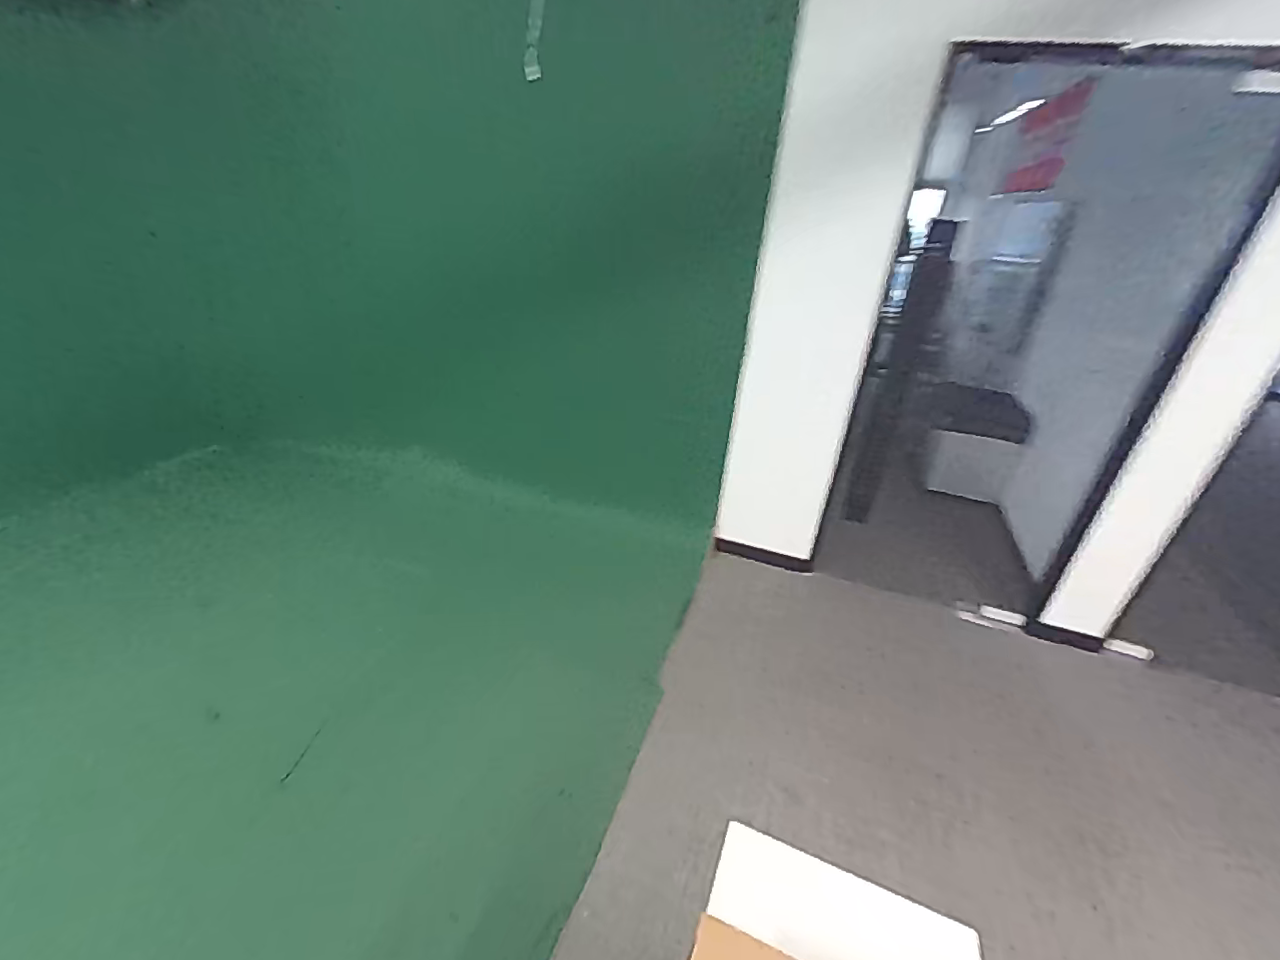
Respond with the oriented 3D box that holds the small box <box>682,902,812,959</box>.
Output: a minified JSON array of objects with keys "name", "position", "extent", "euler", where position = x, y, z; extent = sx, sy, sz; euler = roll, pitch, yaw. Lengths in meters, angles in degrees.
[{"name":"small box","position":[0.119,0.677,0.653],"extent":[0.179,0.176,0.168],"euler":[17,31,18]}]
